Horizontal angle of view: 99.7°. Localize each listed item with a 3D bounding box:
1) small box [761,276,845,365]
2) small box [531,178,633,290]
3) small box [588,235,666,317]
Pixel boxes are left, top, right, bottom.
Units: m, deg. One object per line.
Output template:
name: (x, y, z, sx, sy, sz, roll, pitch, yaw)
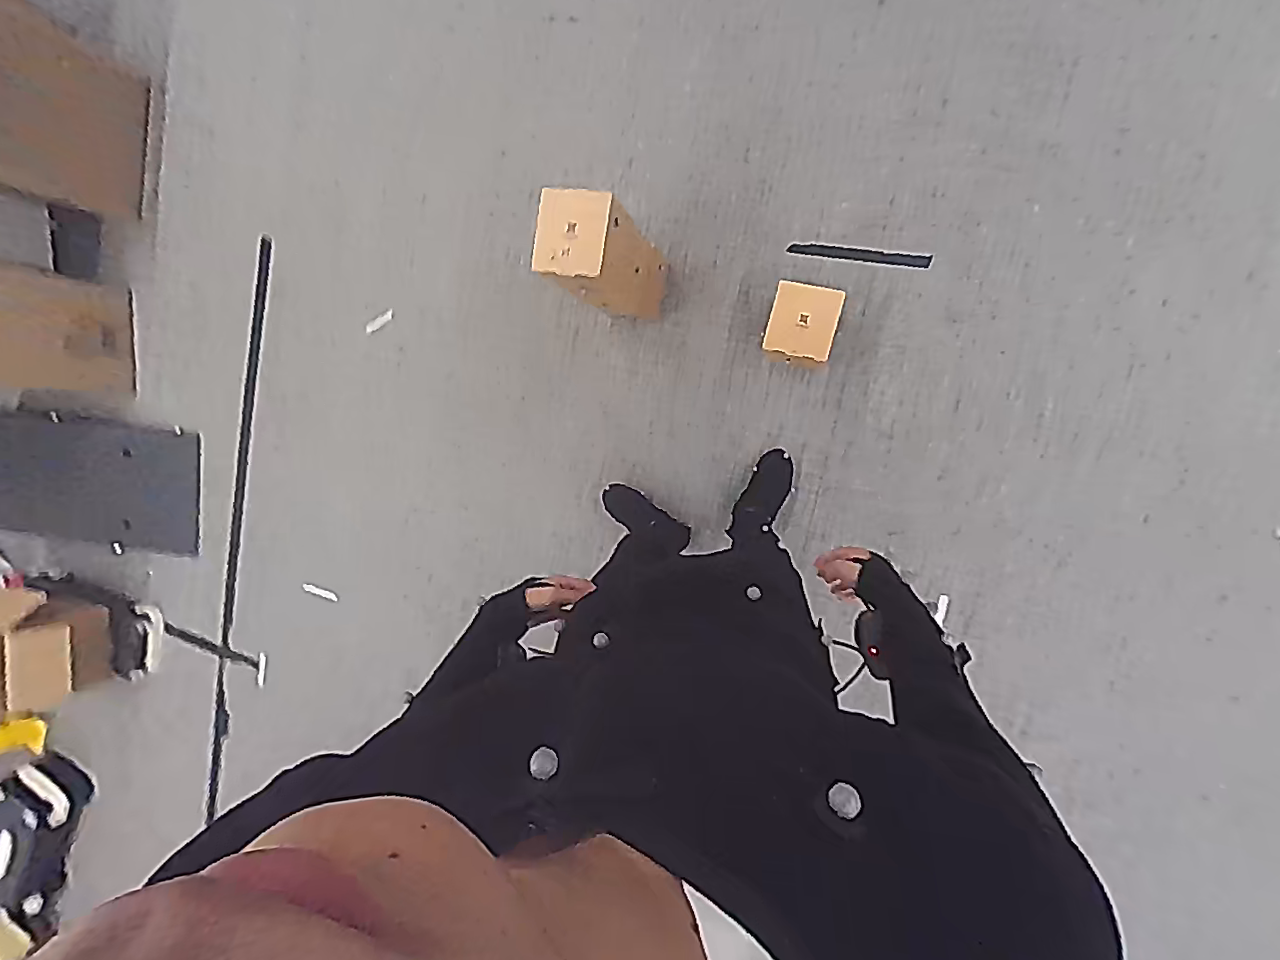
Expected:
small box: (0.423, -0.413, 1.421, 0.168, 0.176, 0.179, 16, 99, 13)
small box: (-0.123, -0.546, 1.215, 0.168, 0.176, 0.179, 12, 98, 15)
small box: (-0.031, -0.577, 1.528, 0.168, 0.176, 0.179, 12, 97, 15)
